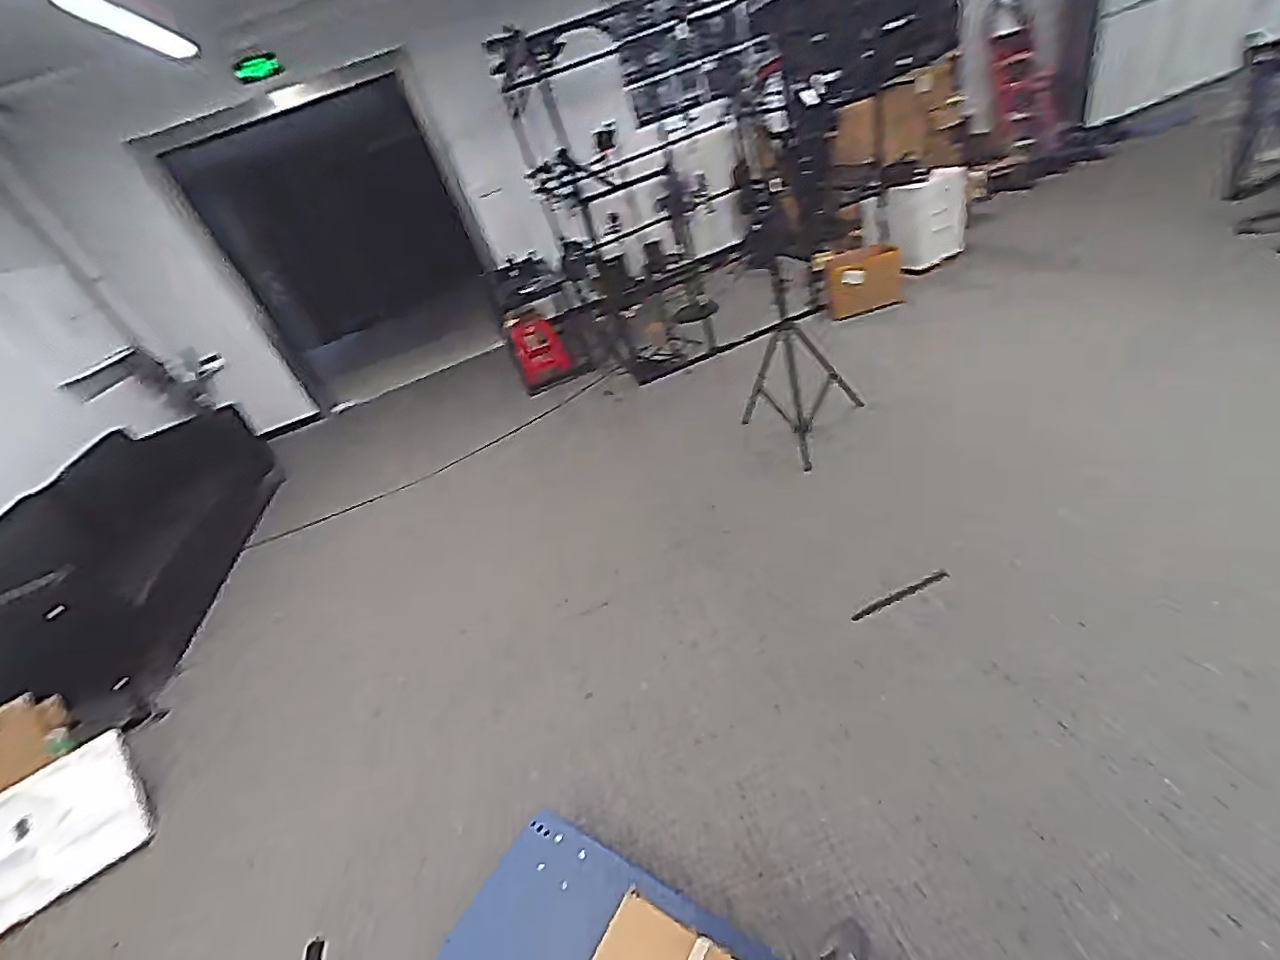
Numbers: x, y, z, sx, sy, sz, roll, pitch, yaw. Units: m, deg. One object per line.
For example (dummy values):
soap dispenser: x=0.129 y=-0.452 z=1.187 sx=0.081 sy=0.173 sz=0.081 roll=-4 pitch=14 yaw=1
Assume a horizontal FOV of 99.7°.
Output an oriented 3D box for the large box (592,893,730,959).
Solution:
large box: x=0.040 y=0.972 z=0.812 sx=0.320 sy=0.320 sz=0.408 roll=7 pitch=40 yaw=35
